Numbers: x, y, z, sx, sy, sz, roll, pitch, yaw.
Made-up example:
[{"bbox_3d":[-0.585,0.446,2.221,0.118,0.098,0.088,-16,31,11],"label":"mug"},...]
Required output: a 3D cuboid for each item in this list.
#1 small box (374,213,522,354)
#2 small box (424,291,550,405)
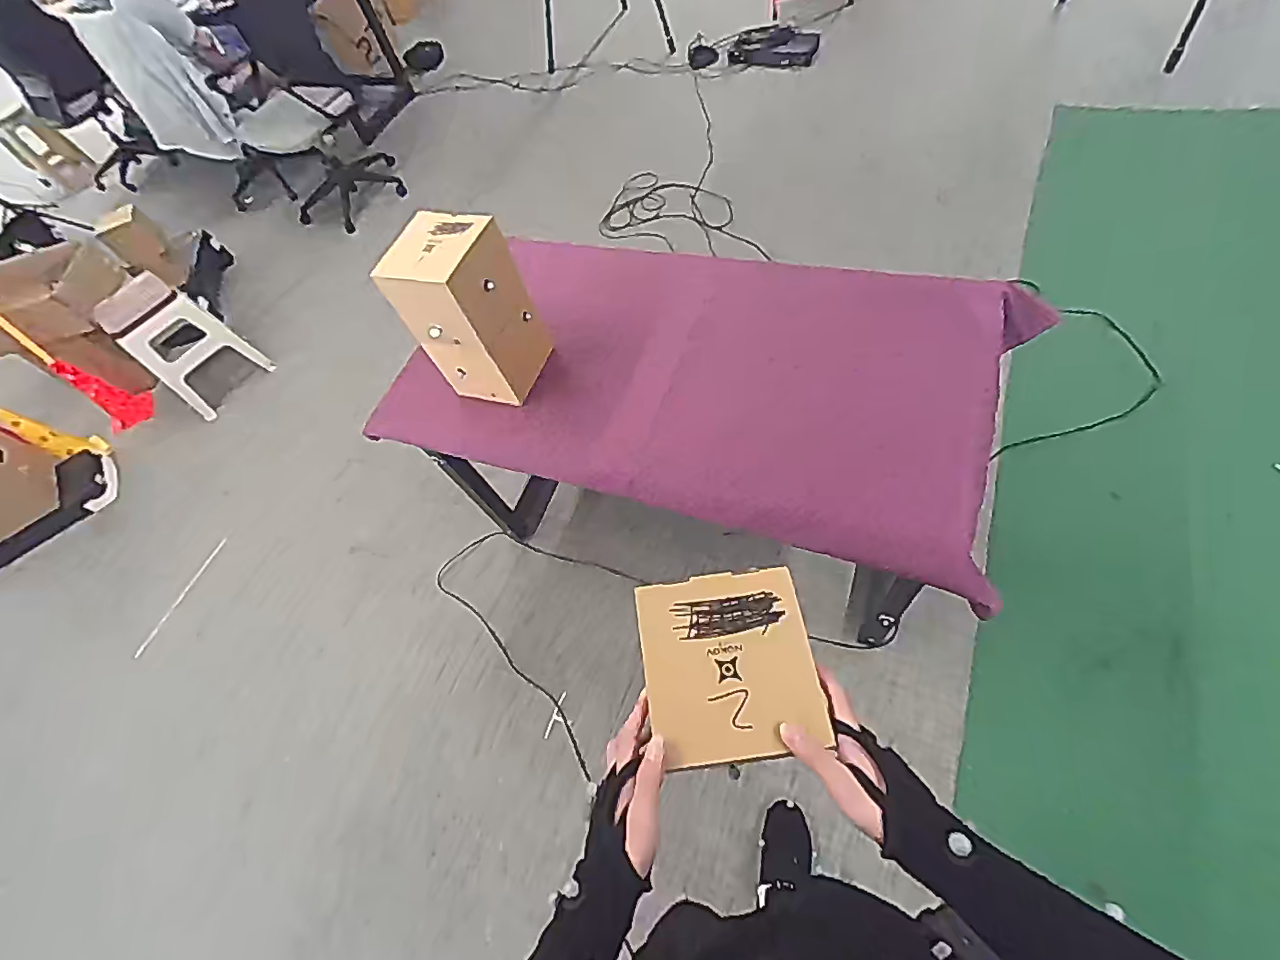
[{"bbox_3d":[-0.341,-0.364,1.007,0.168,0.176,0.179,13,64,20],"label":"small box"},{"bbox_3d":[-0.311,-0.281,1.145,0.168,0.176,0.179,12,63,19],"label":"small box"}]
